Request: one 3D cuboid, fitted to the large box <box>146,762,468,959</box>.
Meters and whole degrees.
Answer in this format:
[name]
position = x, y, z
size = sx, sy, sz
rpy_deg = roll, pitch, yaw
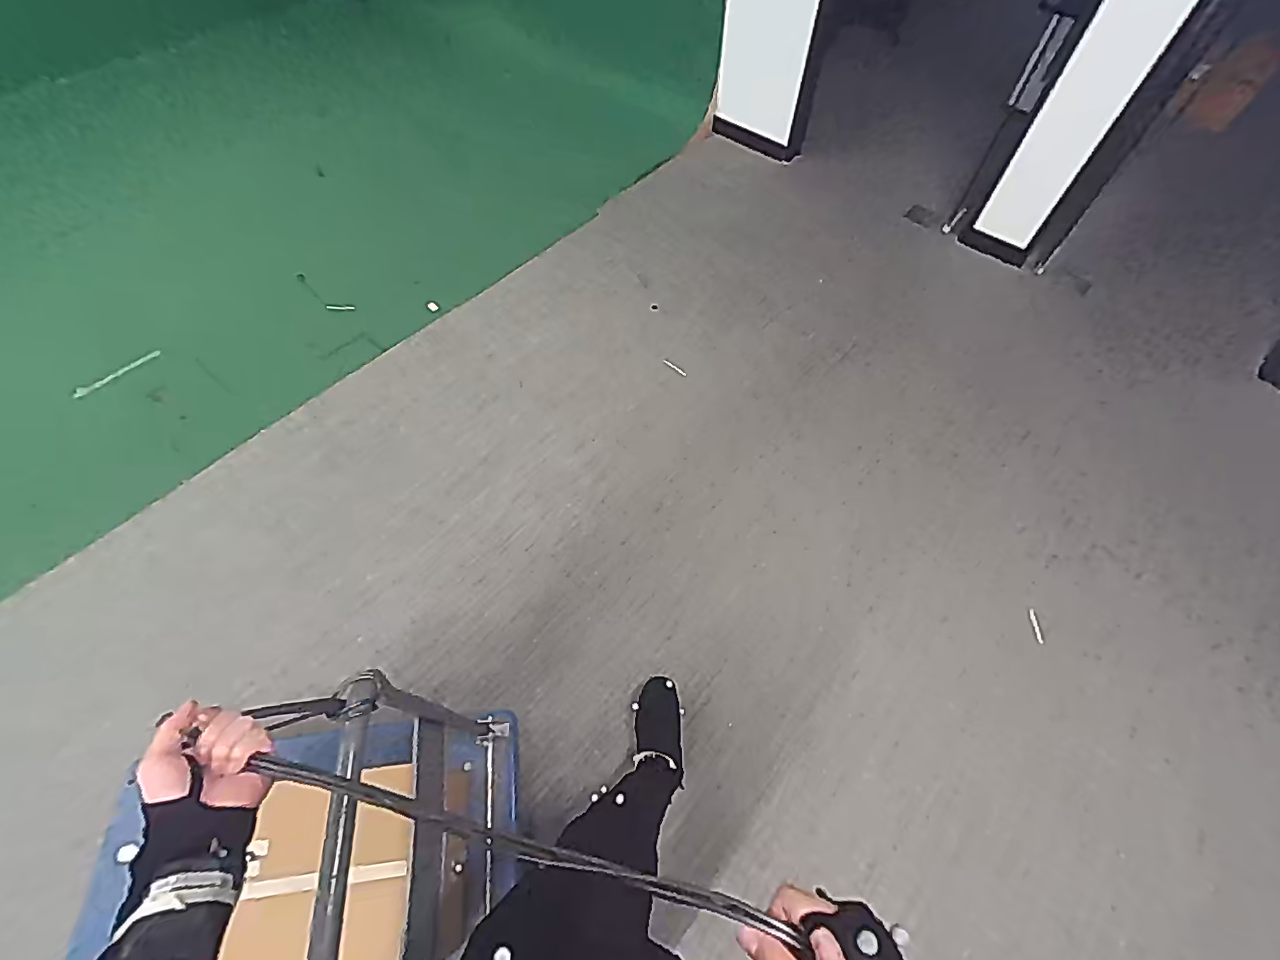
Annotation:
[large box]
position = -0.558, 0.728, 0.993
size = 0.408, 0.320, 0.320
rpy_deg = -7, 59, -3
